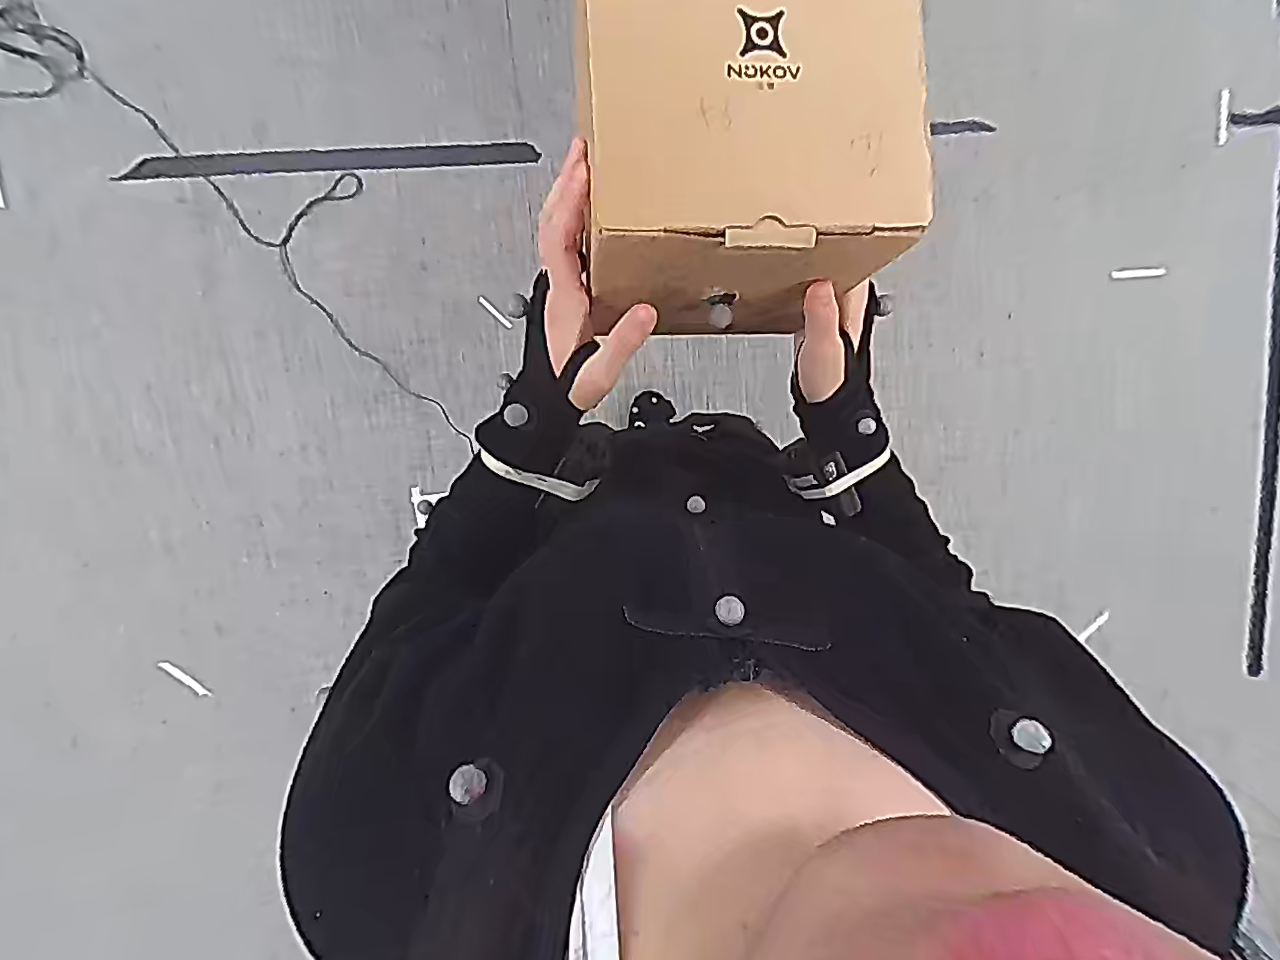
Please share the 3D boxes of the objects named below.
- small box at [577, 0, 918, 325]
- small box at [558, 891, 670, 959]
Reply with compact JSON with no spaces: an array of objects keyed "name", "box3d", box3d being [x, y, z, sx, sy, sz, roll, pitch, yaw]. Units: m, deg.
[{"name":"small box","box3d":[0.046,-0.203,0.341,0.168,0.176,0.179,-3,89,-7]},{"name":"small box","box3d":[-0.042,0.803,0.865,0.179,0.176,0.168,-2,97,-3]}]
